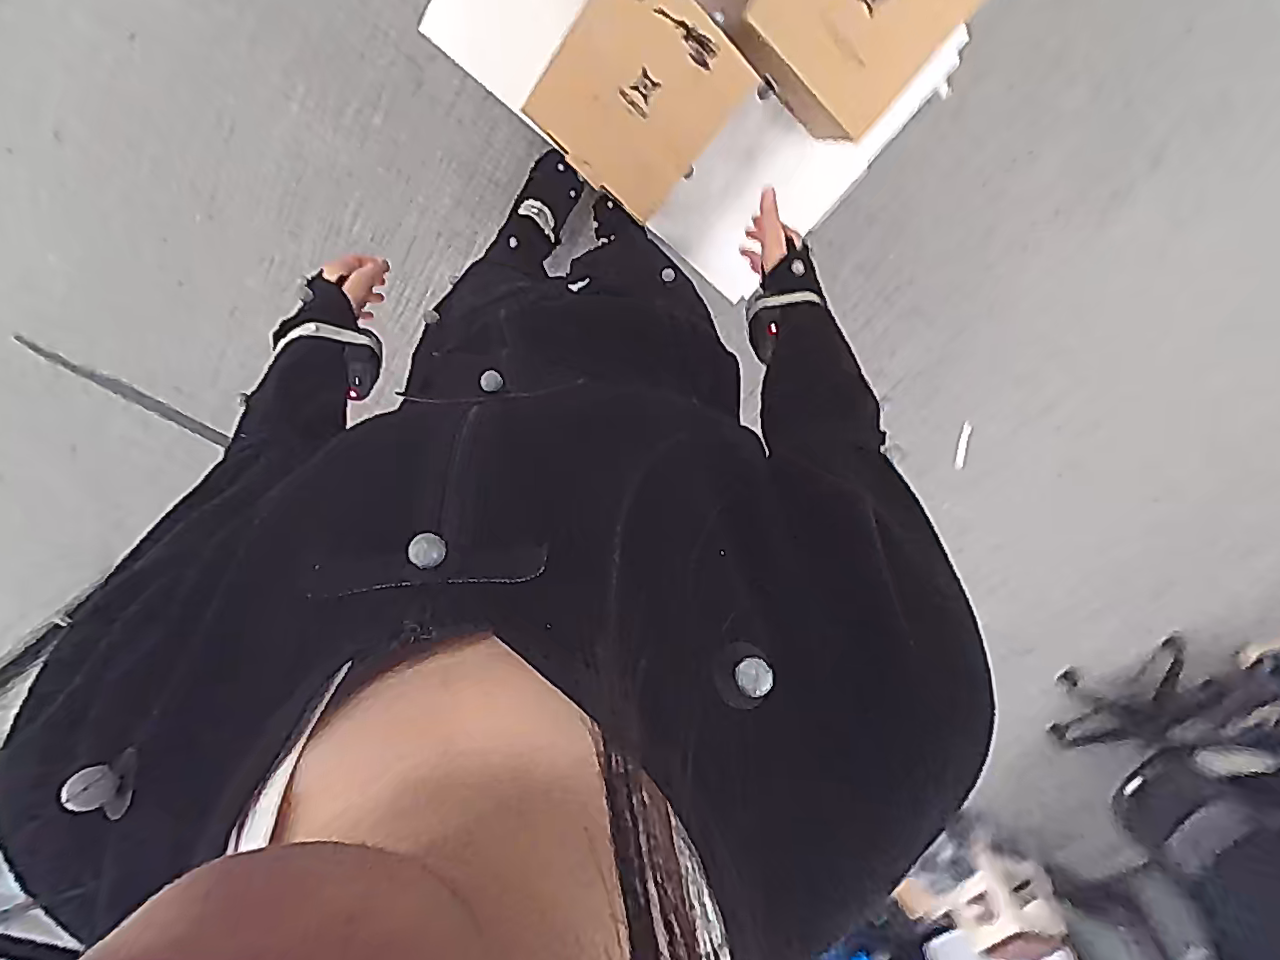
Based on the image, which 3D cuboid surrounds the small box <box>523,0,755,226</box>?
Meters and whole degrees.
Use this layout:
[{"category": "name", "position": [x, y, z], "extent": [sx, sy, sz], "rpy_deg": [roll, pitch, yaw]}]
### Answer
[{"category": "small box", "position": [-0.001, -0.418, 0.597], "extent": [0.168, 0.176, 0.179], "rpy_deg": [36, 116, -21]}]

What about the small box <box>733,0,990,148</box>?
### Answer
[{"category": "small box", "position": [0.215, -0.482, 0.558], "extent": [0.168, 0.176, 0.179], "rpy_deg": [36, 117, -19]}]
